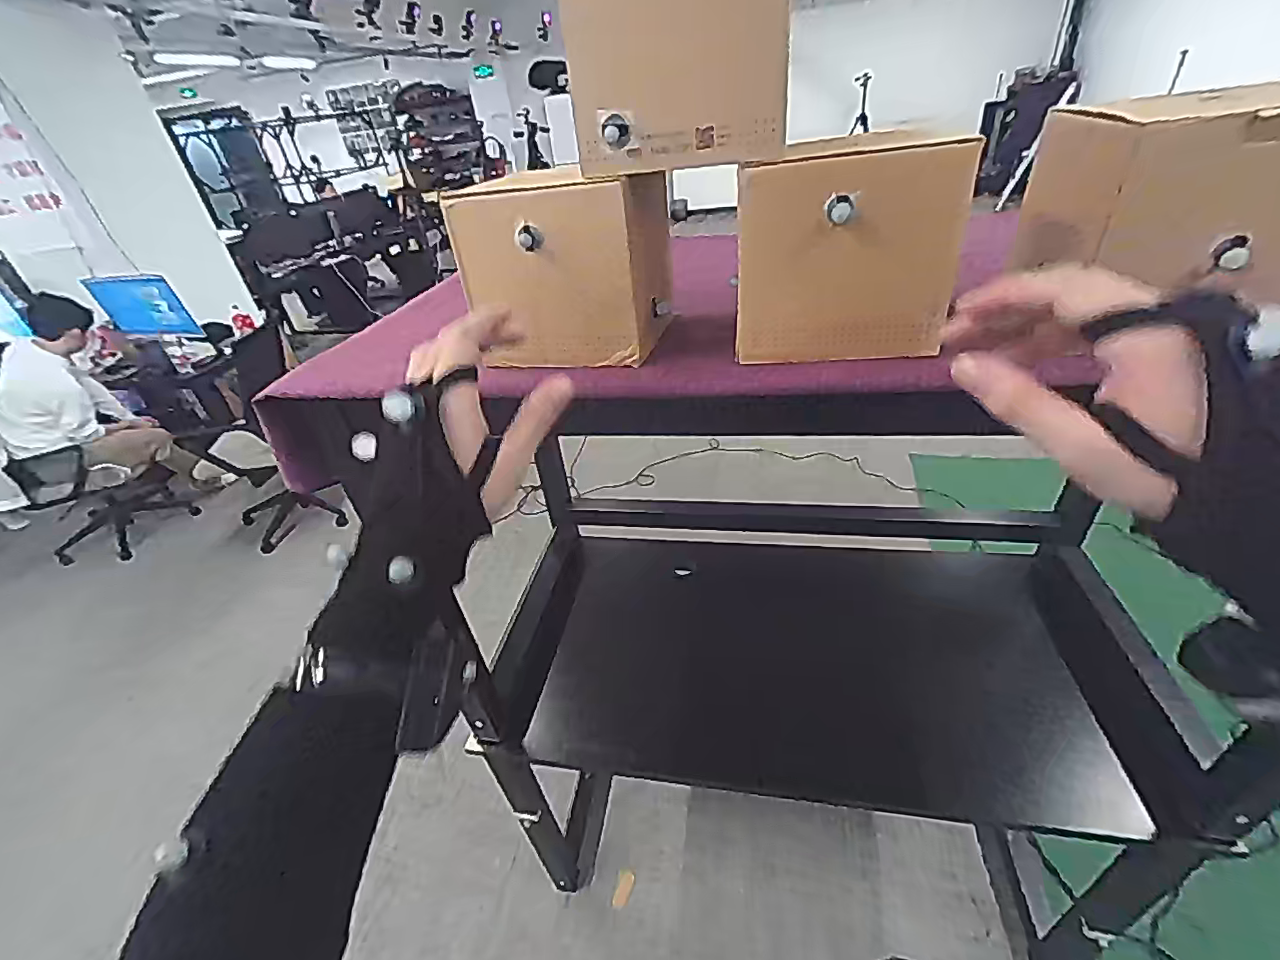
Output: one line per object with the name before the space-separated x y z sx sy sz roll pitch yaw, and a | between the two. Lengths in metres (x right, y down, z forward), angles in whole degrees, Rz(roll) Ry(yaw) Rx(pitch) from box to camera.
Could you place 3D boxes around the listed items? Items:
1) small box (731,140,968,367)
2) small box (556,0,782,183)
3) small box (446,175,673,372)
small box | 0.180 -0.217 0.524 0.179 0.176 0.168 1 34 12
small box | 0.039 -0.364 0.473 0.168 0.176 0.179 1 33 13
small box | -0.069 -0.223 0.581 0.179 0.176 0.168 4 35 16
